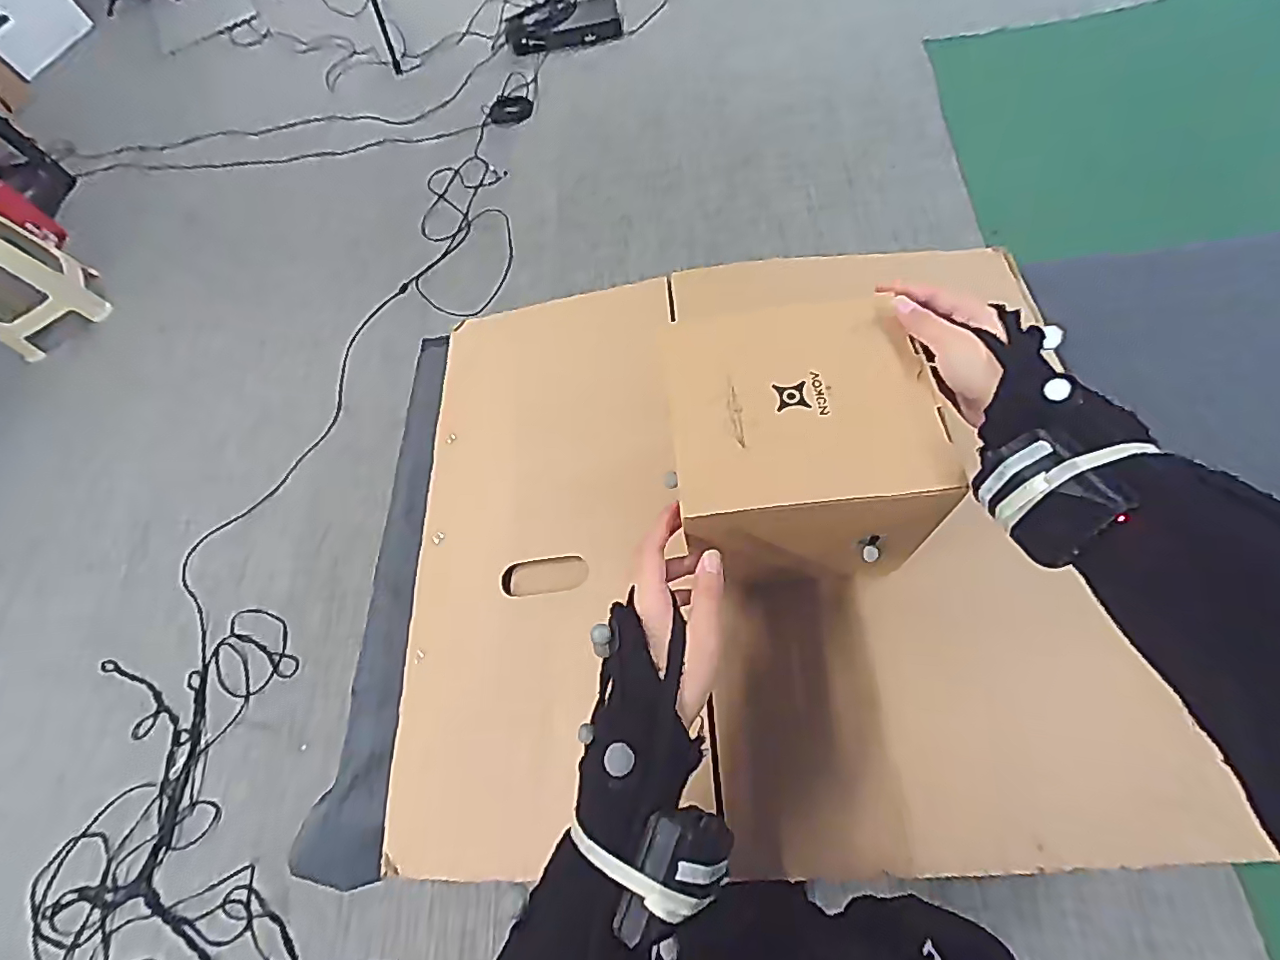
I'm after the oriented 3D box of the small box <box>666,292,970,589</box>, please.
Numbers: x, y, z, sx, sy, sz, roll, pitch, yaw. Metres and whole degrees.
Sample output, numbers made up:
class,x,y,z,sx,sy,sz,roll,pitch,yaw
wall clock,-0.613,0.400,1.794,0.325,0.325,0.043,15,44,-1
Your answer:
class,x,y,z,sx,sy,sz,roll,pitch,yaw
small box,0.120,-0.019,0.438,0.179,0.176,0.168,-8,62,6
